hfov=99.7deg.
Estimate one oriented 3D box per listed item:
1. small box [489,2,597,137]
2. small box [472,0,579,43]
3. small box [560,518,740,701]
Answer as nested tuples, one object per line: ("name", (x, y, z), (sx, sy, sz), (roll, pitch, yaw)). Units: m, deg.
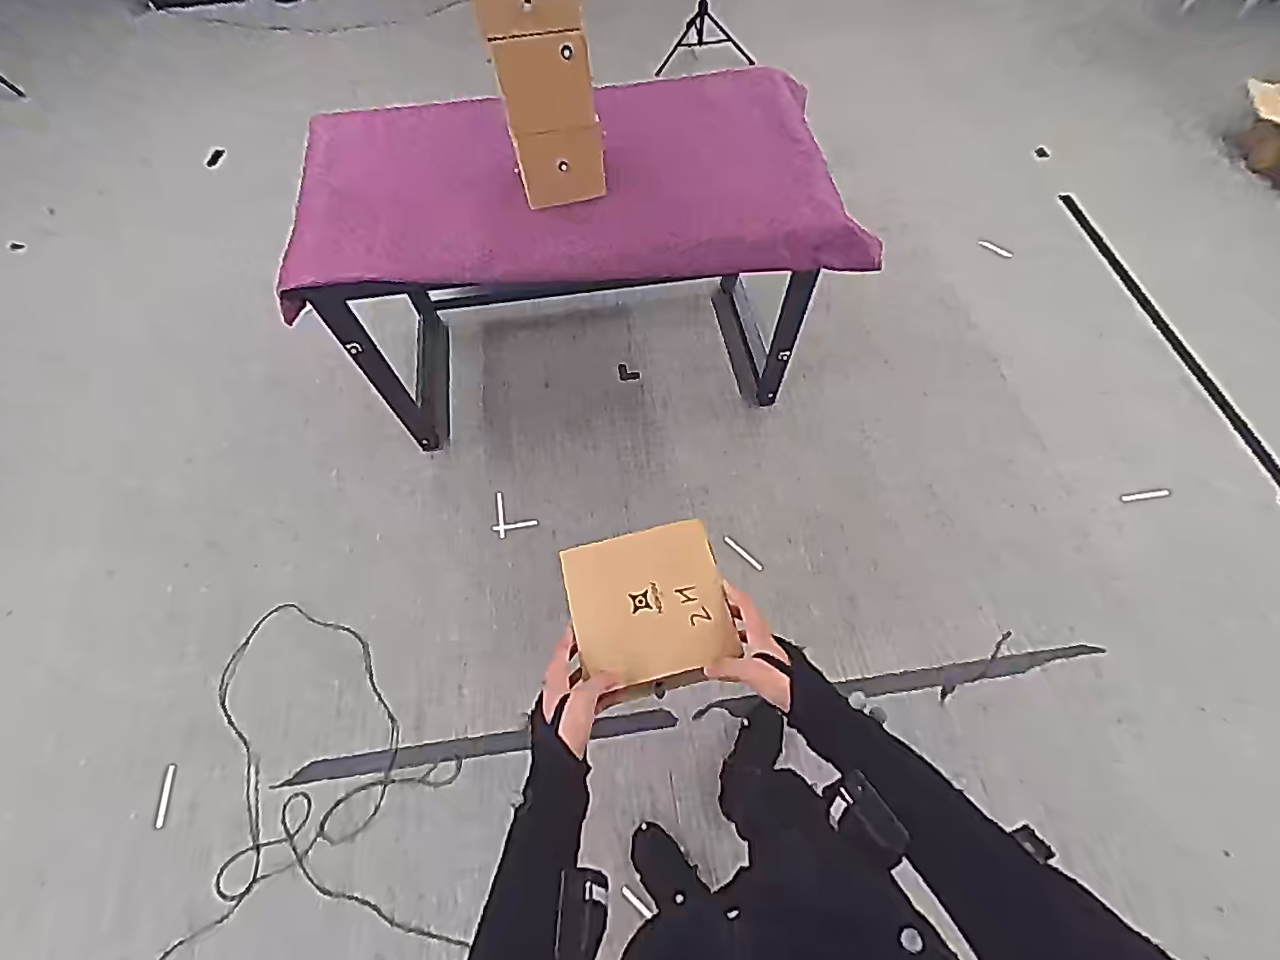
("small box", (-0.186, -0.792, 1.040), (0.179, 0.176, 0.168), (-10, 64, -4))
("small box", (-0.197, -0.862, 0.891), (0.179, 0.176, 0.168), (-10, 63, -5))
("small box", (0.011, 0.169, 0.675), (0.179, 0.176, 0.168), (-13, 64, -4))
